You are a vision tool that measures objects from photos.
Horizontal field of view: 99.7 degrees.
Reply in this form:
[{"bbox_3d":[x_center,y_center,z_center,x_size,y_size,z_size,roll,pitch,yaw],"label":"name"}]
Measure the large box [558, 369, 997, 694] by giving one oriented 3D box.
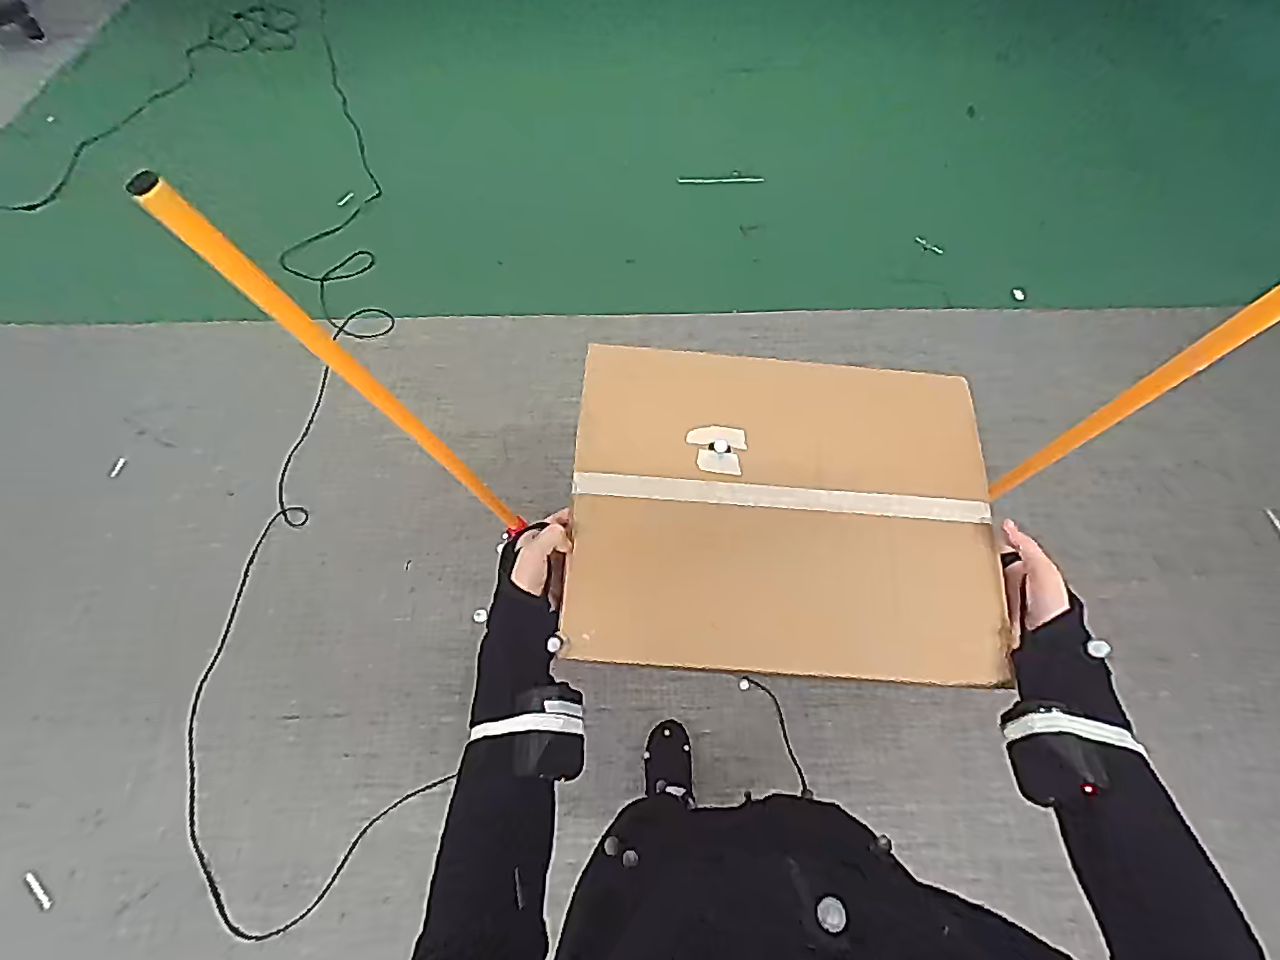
[{"bbox_3d":[0.127,0.085,0.670,0.408,0.320,0.320,4,69,-1],"label":"large box"}]
